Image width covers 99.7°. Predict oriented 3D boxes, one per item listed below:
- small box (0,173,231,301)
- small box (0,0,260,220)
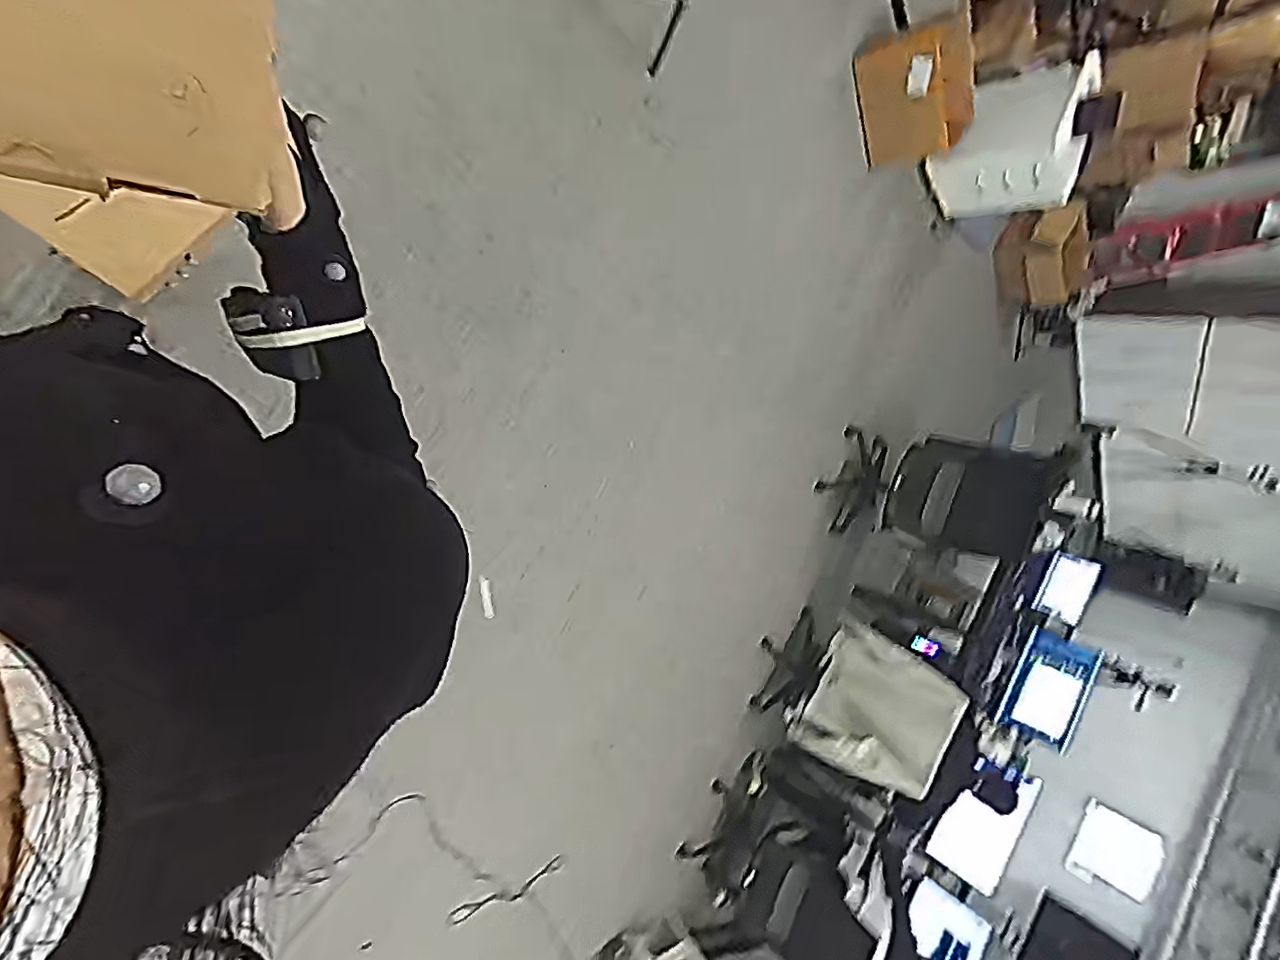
[{"bbox_3d":[-0.620,-0.335,0.639,0.179,0.176,0.168,-53,130,-14],"label":"small box"},{"bbox_3d":[-0.283,-0.241,0.240,0.168,0.176,0.179,-9,126,-43],"label":"small box"}]
